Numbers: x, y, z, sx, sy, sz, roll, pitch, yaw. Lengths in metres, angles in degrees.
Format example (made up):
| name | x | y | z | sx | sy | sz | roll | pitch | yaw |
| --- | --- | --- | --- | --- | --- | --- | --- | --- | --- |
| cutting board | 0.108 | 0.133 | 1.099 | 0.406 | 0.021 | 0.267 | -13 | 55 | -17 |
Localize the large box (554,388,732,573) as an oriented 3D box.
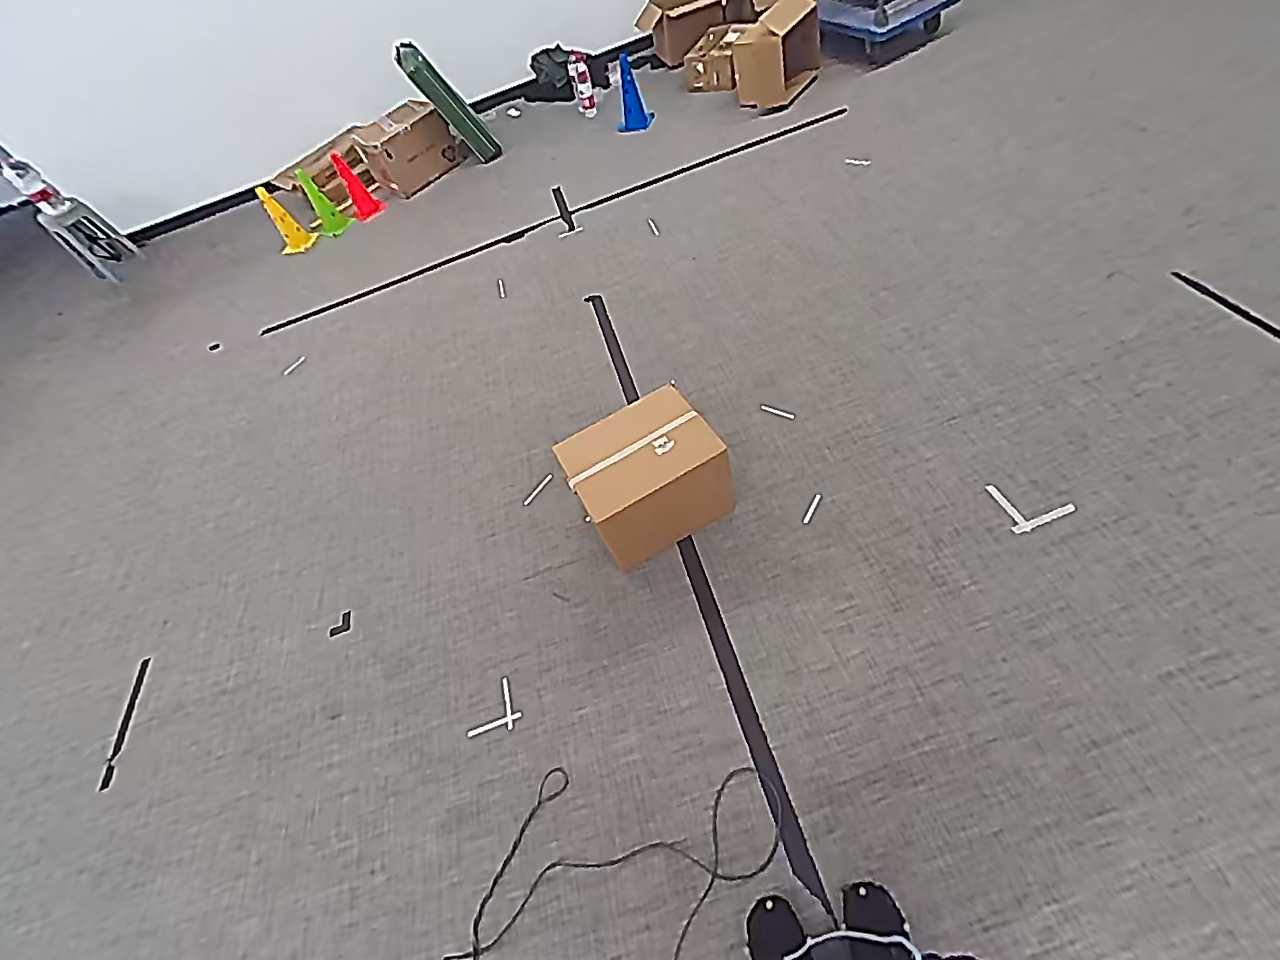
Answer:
| name | x | y | z | sx | sy | sz | roll | pitch | yaw |
| --- | --- | --- | --- | --- | --- | --- | --- | --- | --- |
| large box | 0.017 | 0.005 | 1.614 | 0.408 | 0.320 | 0.320 | -29 | 54 | -7 |
